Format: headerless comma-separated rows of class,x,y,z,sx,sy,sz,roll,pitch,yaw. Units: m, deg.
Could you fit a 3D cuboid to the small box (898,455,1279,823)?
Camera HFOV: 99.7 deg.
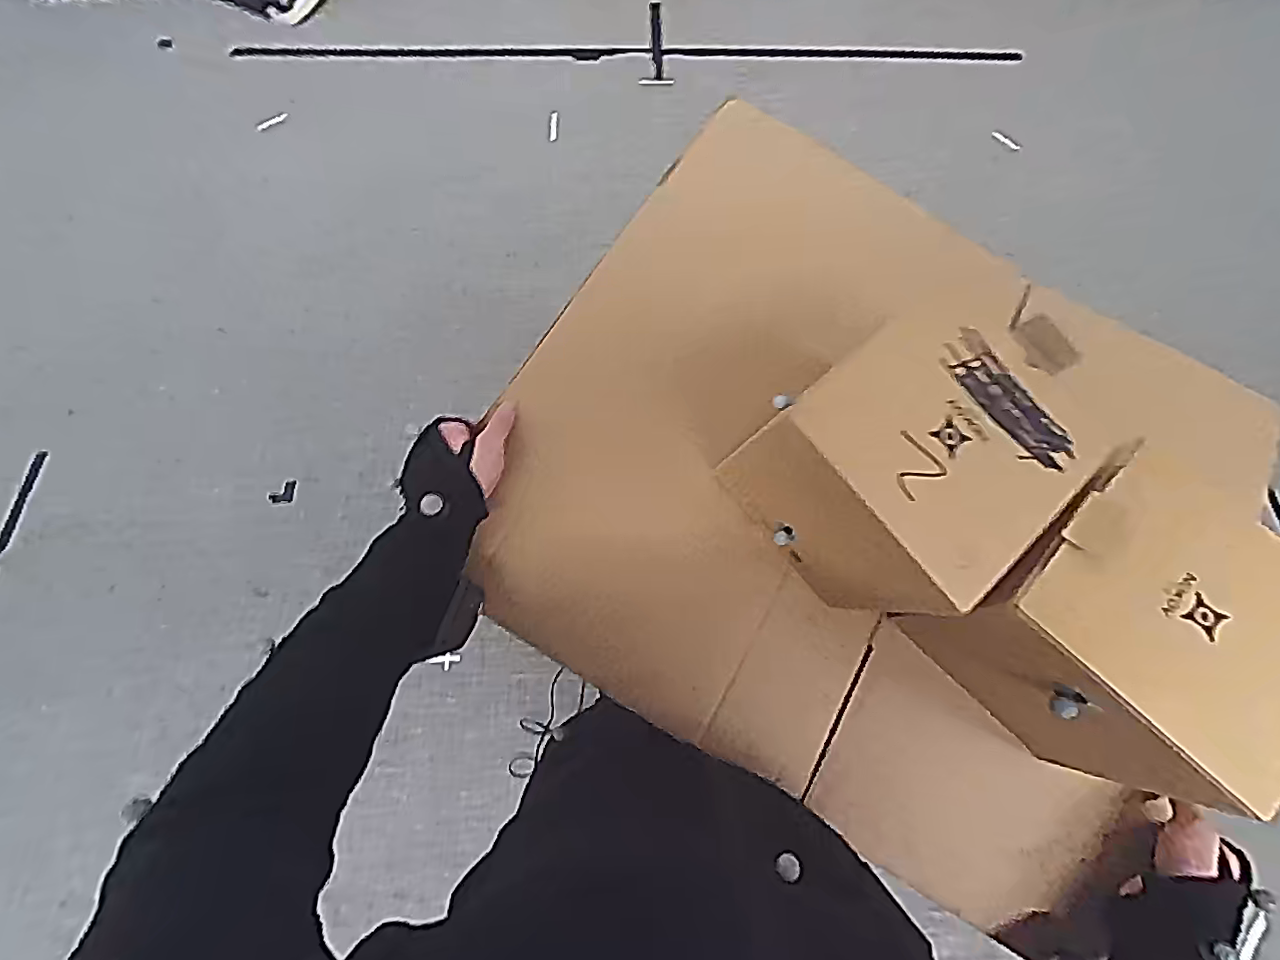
small box,0.353,0.114,0.428,0.168,0.176,0.179,-43,79,-13
